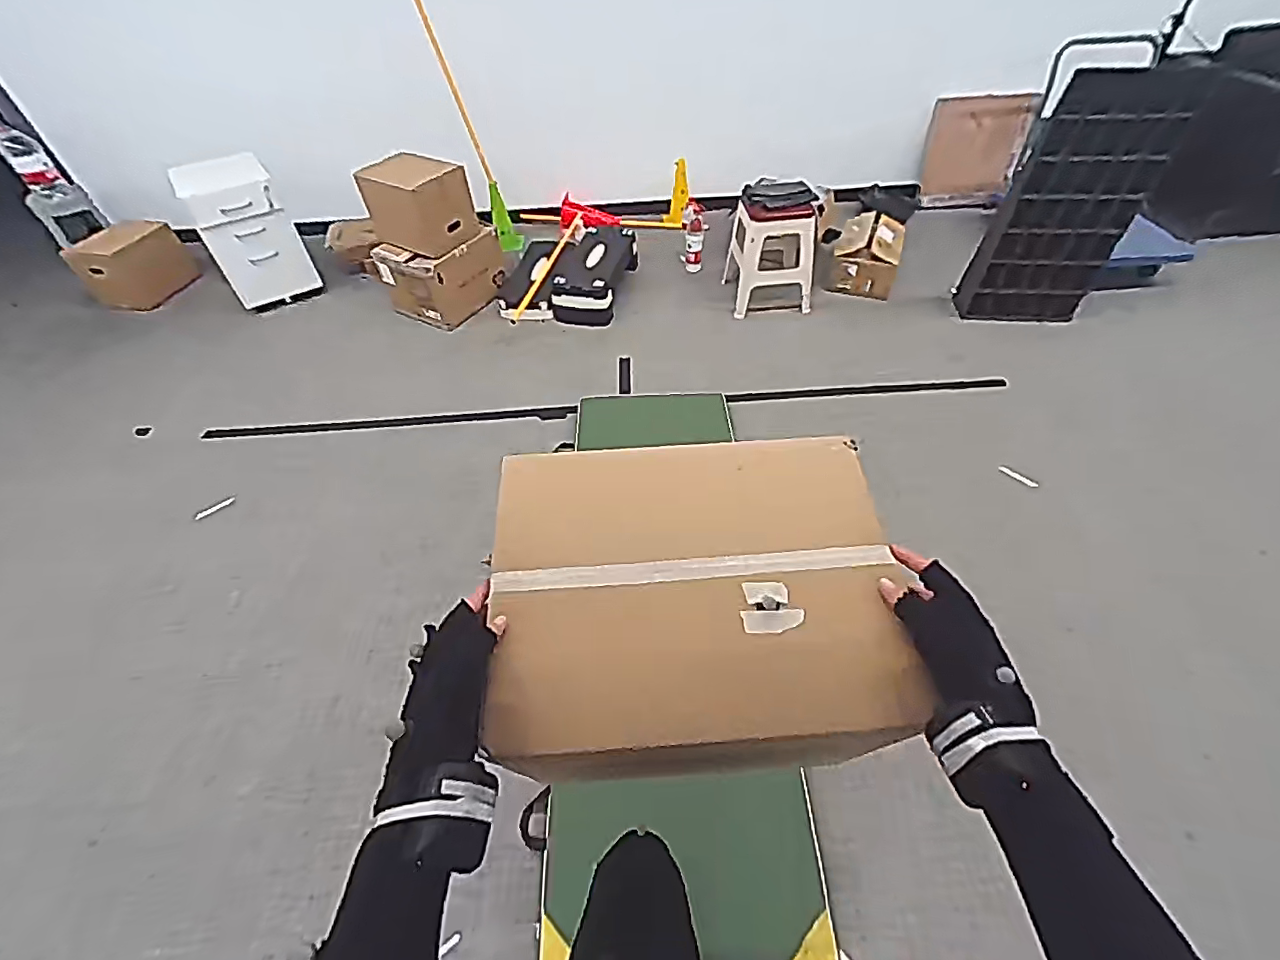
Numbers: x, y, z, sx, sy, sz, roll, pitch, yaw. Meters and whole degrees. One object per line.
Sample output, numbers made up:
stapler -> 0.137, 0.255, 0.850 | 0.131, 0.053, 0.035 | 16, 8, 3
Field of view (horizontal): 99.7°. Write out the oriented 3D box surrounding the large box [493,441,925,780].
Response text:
large box -> 0.052, 0.176, 0.689 | 0.408, 0.320, 0.320 | -4, 57, -2
